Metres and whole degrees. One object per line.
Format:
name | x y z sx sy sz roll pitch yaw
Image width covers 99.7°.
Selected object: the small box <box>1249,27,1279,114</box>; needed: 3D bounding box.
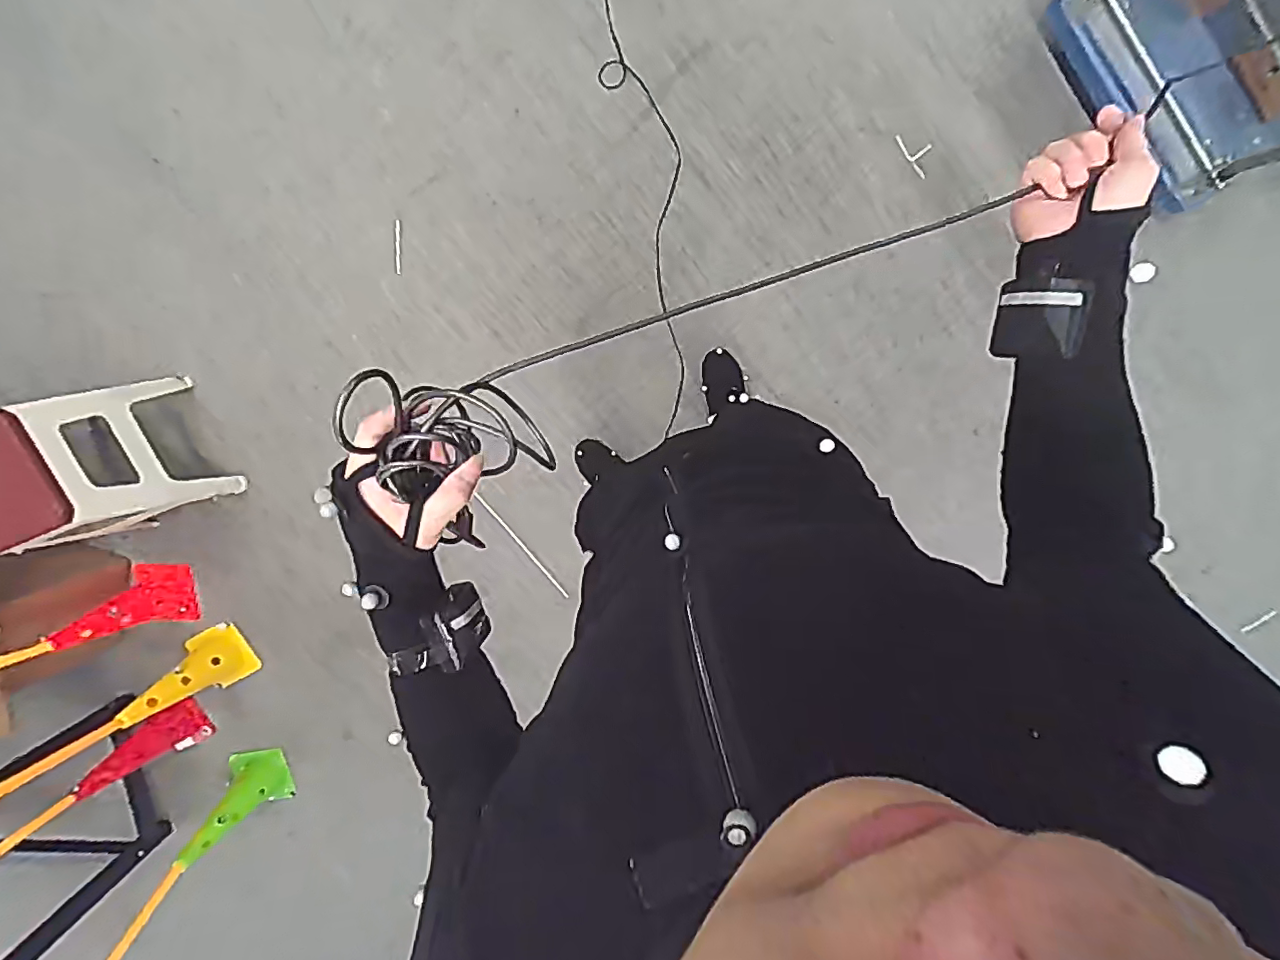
small box | 1.409 -0.886 1.075 0.179 0.176 0.168 -37 98 12
